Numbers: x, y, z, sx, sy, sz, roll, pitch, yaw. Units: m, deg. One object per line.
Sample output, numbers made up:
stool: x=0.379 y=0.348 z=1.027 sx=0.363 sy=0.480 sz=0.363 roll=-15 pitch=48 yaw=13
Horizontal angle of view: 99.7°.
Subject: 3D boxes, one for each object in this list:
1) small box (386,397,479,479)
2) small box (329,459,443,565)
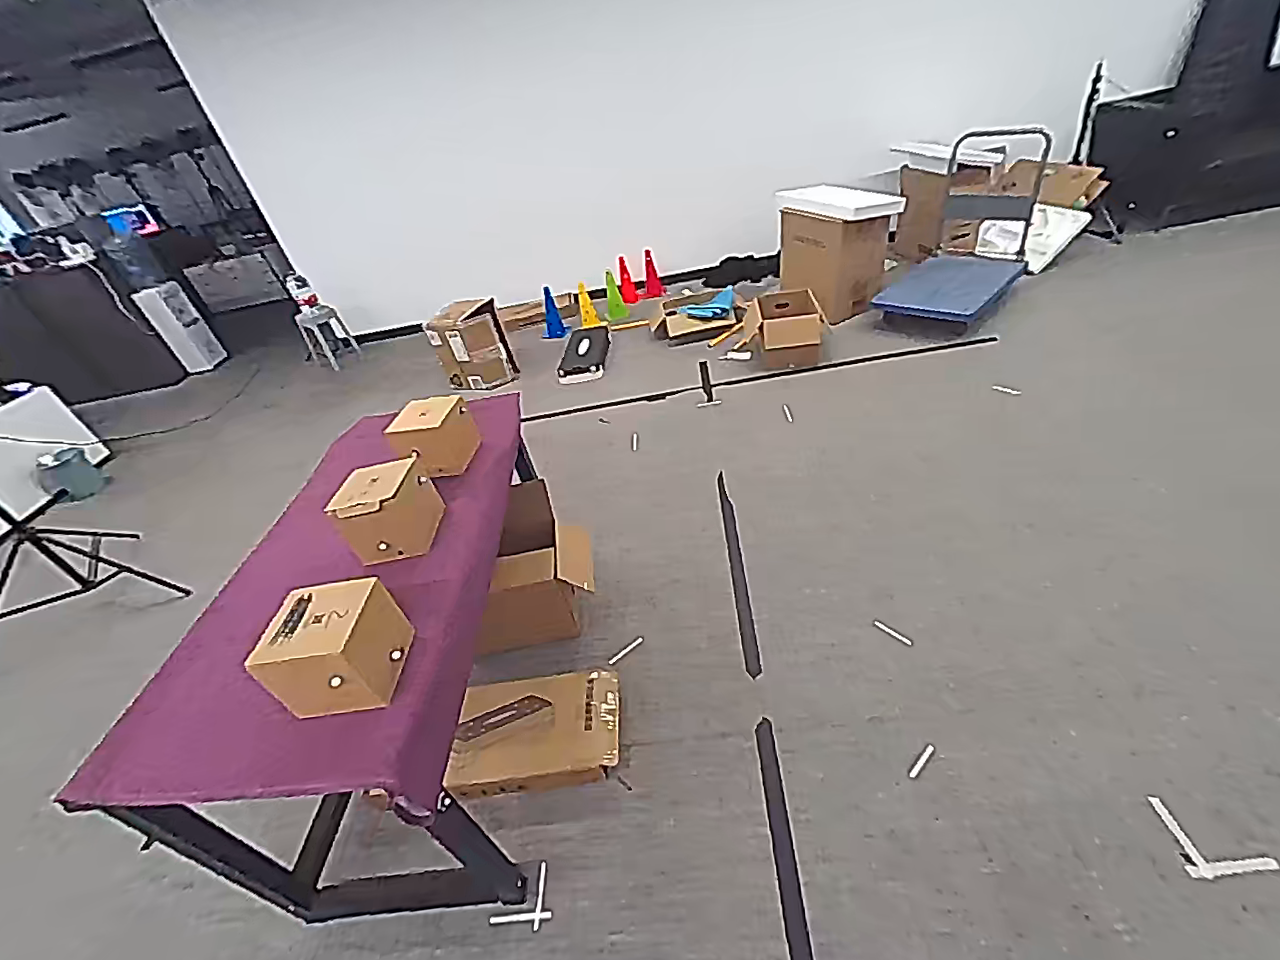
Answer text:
small box: x=-0.585 y=-0.115 z=1.557 sx=0.168 sy=0.176 sz=0.179 roll=-6 pitch=37 yaw=11
small box: x=-0.599 y=0.078 z=1.304 sx=0.168 sy=0.176 sz=0.179 roll=-12 pitch=37 yaw=6
